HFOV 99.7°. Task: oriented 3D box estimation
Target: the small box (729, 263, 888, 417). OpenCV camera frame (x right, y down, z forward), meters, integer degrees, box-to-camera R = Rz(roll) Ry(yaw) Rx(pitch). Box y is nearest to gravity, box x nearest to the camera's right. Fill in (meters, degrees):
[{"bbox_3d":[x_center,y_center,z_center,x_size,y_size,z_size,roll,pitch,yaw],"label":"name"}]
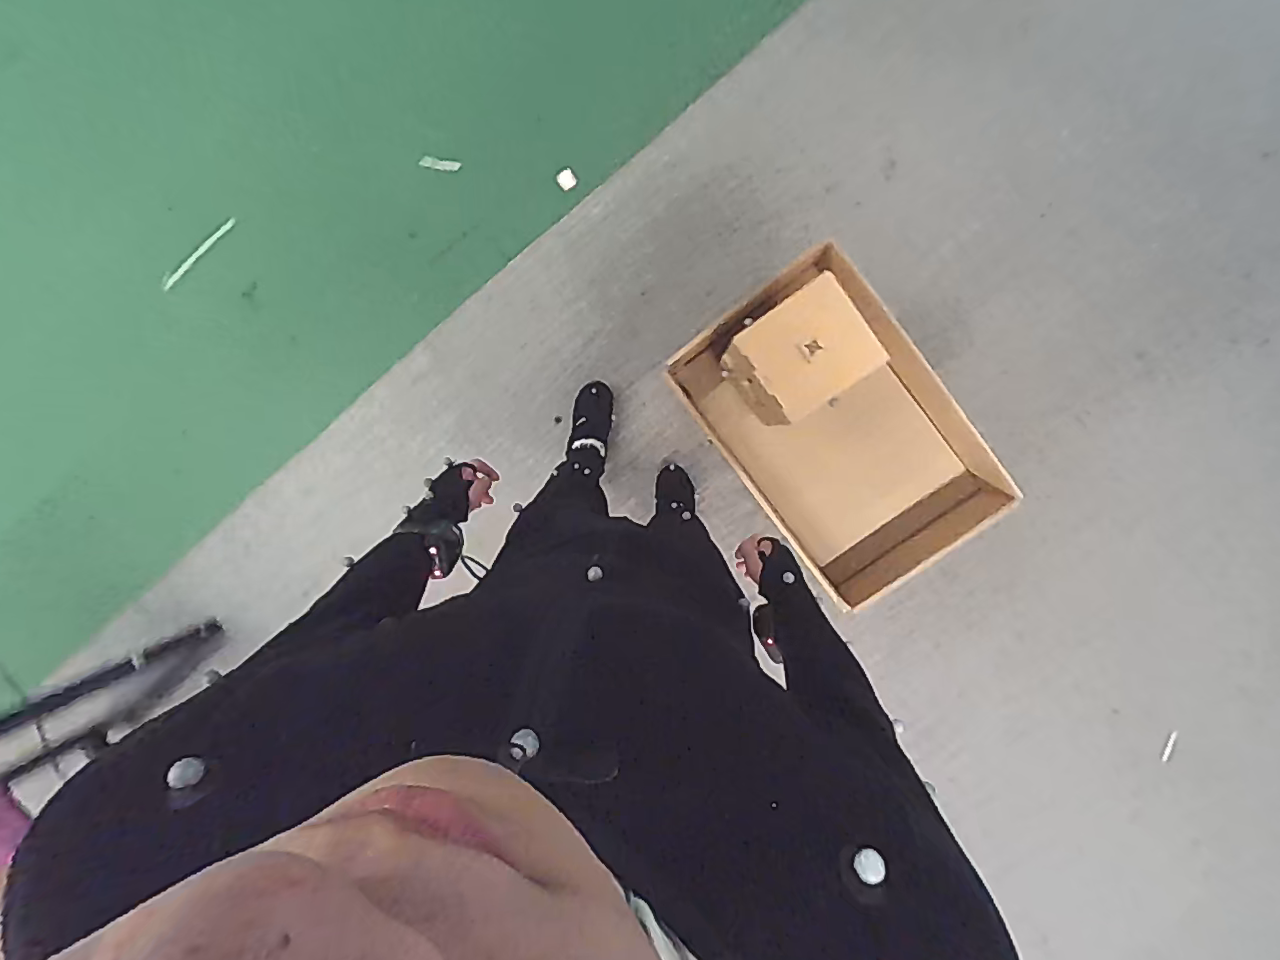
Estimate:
[{"bbox_3d":[0.265,-0.222,0.897,0.179,0.176,0.168,-35,93,8],"label":"small box"}]
